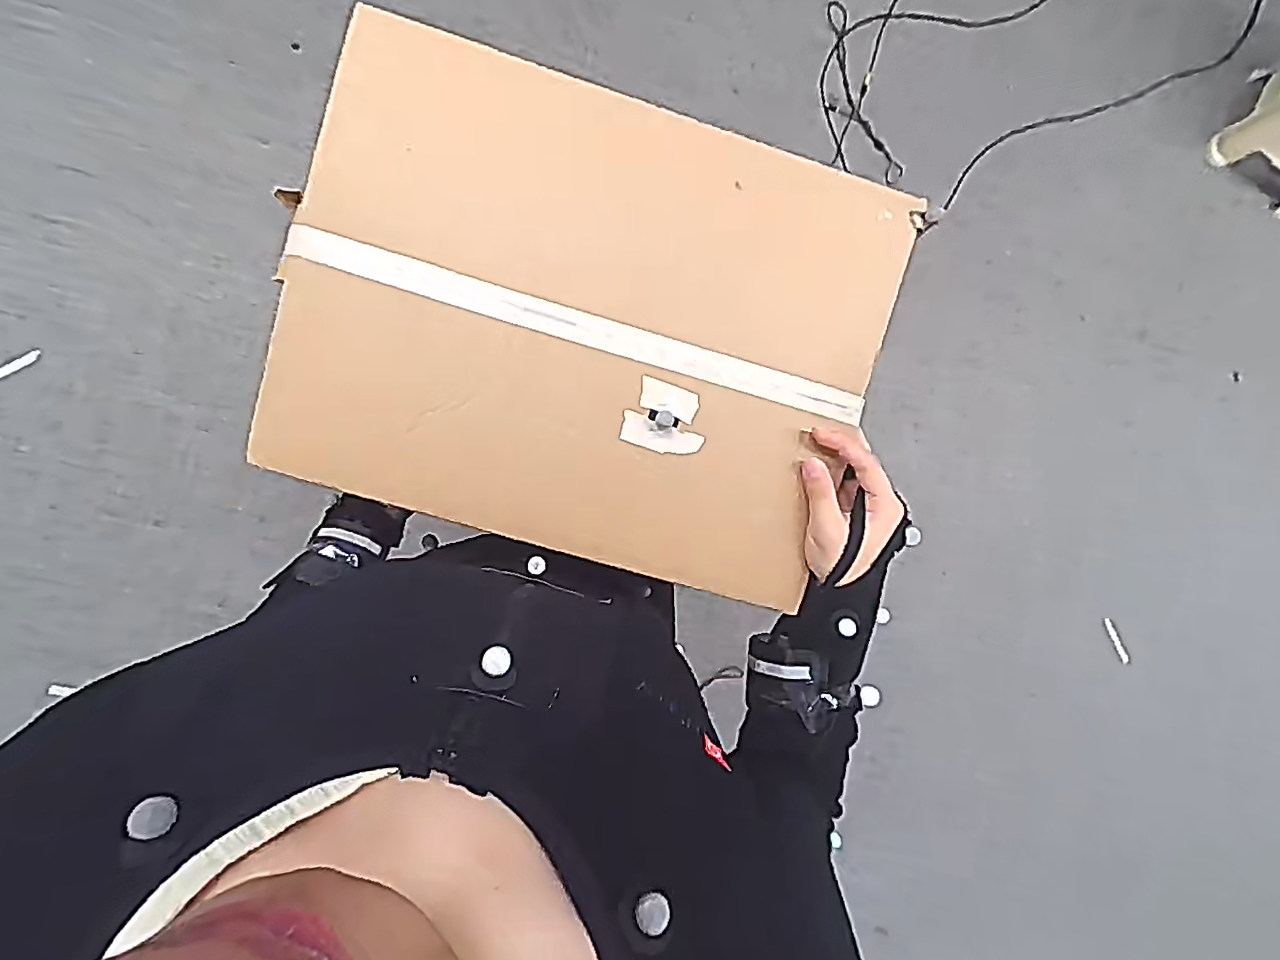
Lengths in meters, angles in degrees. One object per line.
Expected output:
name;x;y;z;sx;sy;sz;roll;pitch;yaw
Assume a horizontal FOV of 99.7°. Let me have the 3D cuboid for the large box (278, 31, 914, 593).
large box;-0.039;-0.119;0.534;0.408;0.320;0.320;15;95;-6
